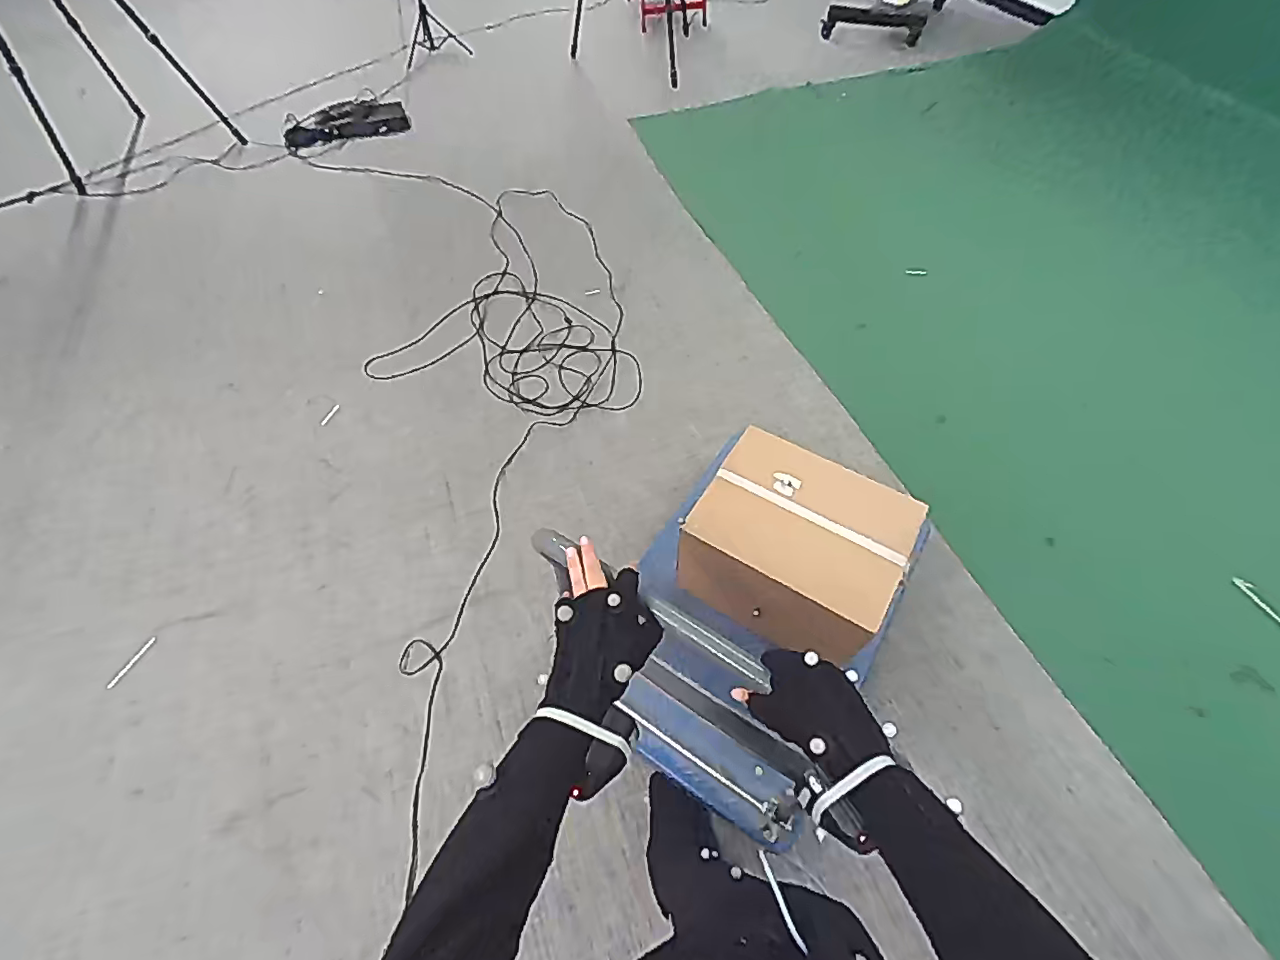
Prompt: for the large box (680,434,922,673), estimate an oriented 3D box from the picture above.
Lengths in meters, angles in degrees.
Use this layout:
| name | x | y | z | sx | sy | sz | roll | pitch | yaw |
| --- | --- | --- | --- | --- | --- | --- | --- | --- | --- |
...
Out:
| name | x | y | z | sx | sy | sz | roll | pitch | yaw |
| --- | --- | --- | --- | --- | --- | --- | --- | --- | --- |
| large box | 0.337 | 0.167 | 1.216 | 0.408 | 0.320 | 0.320 | 27 | 61 | 19 |
